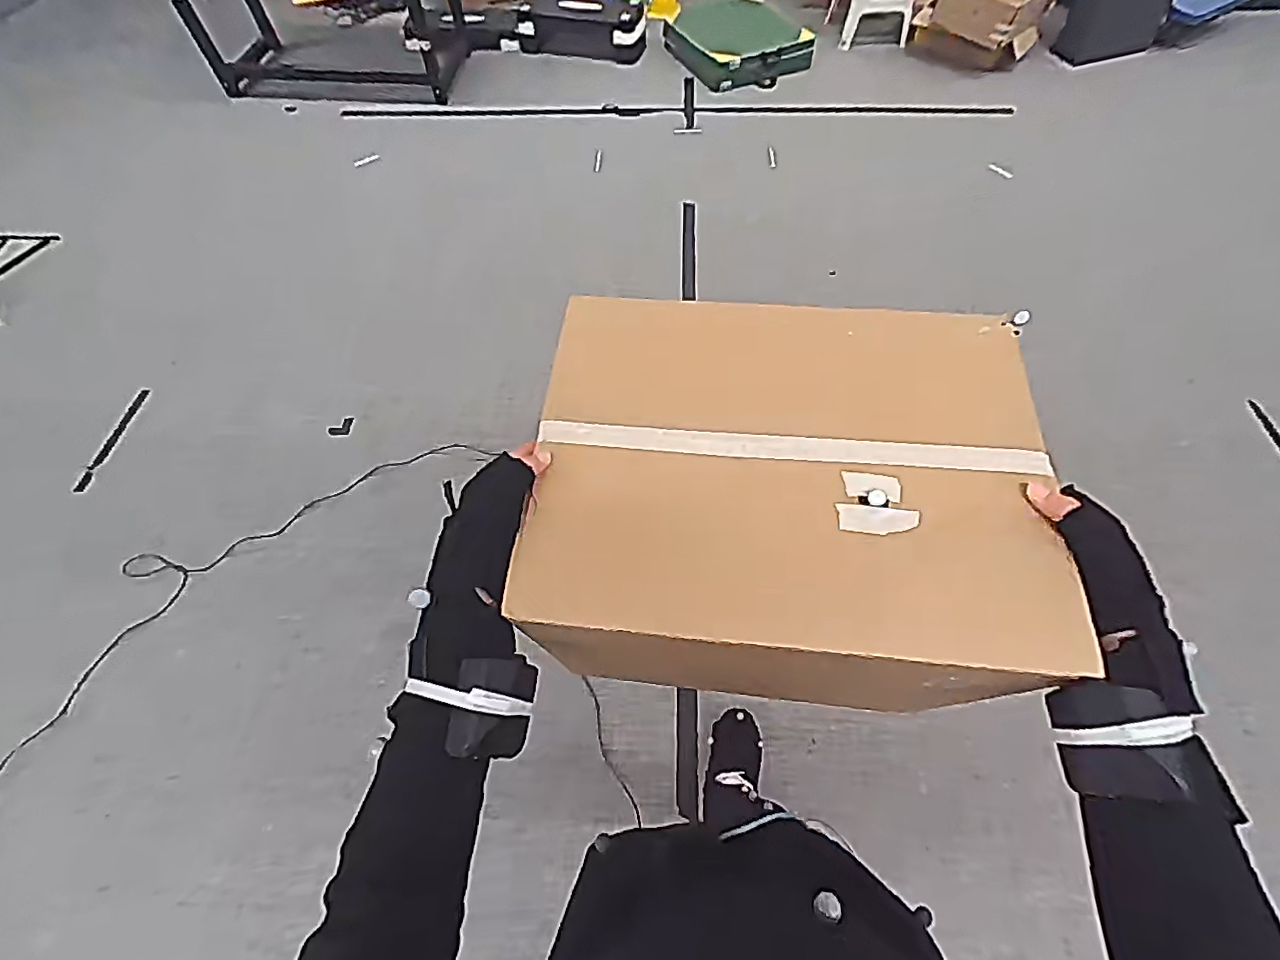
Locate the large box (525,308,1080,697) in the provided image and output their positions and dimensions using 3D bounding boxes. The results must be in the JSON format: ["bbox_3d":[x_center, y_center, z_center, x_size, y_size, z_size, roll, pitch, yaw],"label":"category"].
[{"bbox_3d":[0.127,0.043,0.586,0.408,0.320,0.320,4,64,5],"label":"large box"}]
